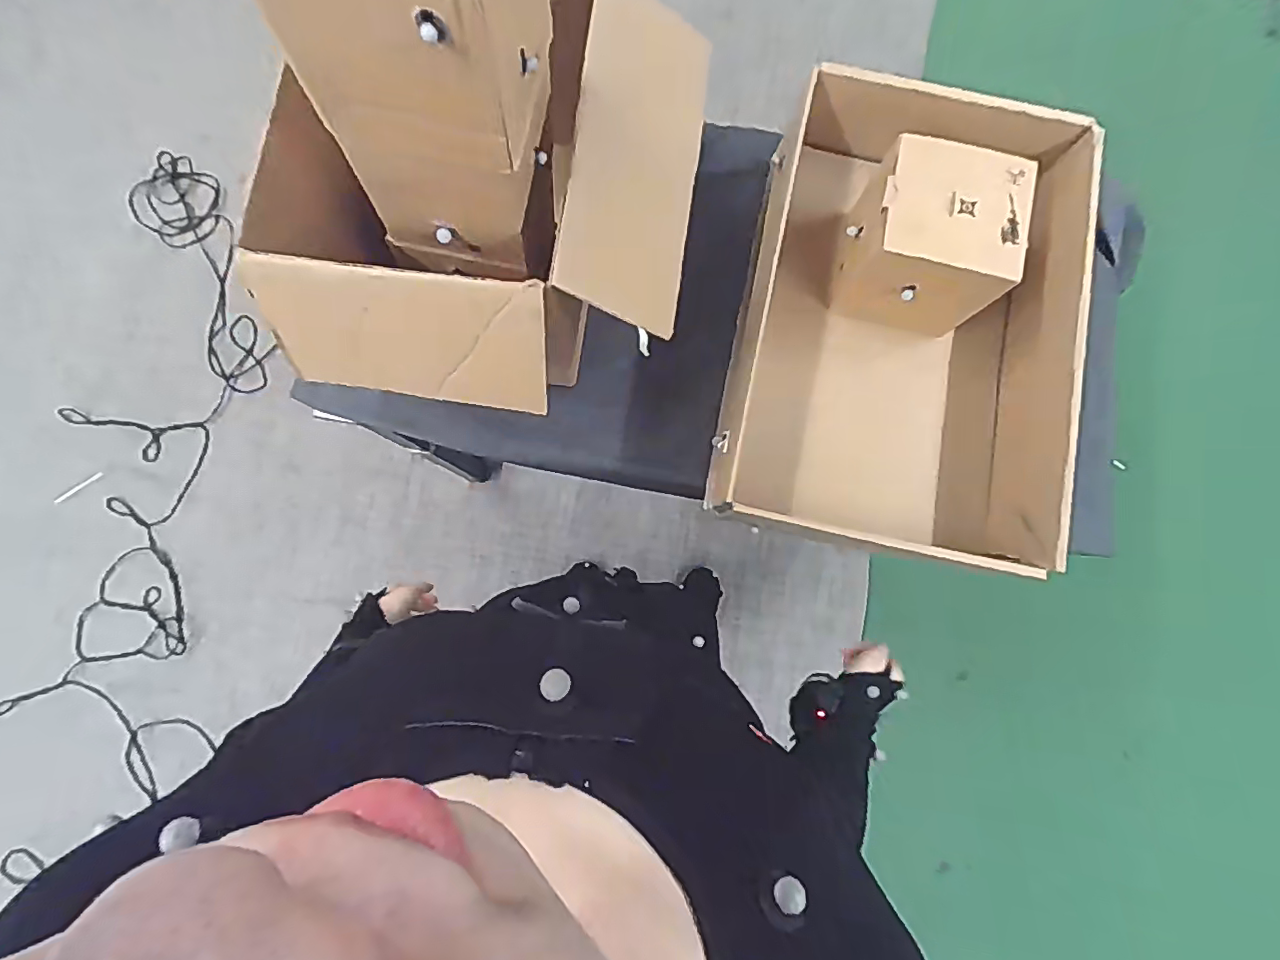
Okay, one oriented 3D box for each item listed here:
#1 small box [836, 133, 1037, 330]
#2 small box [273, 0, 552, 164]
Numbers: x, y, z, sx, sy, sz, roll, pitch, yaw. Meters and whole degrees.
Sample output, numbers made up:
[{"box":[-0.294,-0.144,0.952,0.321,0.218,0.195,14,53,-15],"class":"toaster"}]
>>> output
[{"box":[0.388,-0.324,0.737,0.179,0.176,0.168,13,83,2],"class":"small box"},{"box":[-0.175,-0.392,0.432,0.179,0.176,0.168,11,80,-5],"class":"small box"}]
